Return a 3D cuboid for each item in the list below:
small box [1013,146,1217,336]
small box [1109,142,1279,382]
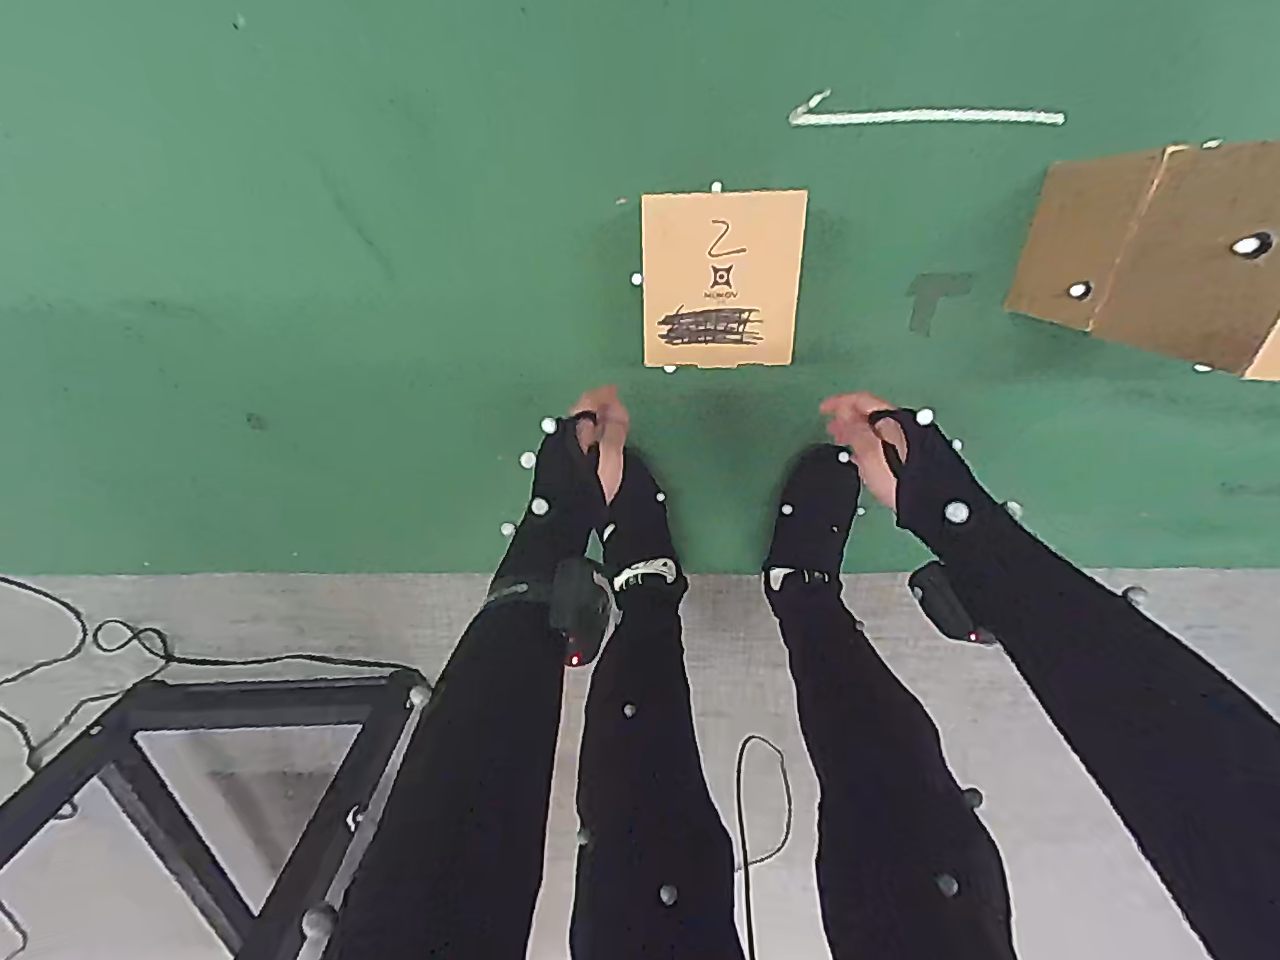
[{"bbox_3d":[0.571,-0.264,0.612,0.168,0.176,0.179,2,117,0],"label":"small box"},{"bbox_3d":[0.572,-0.187,0.467,0.168,0.176,0.179,4,117,-1],"label":"small box"}]
